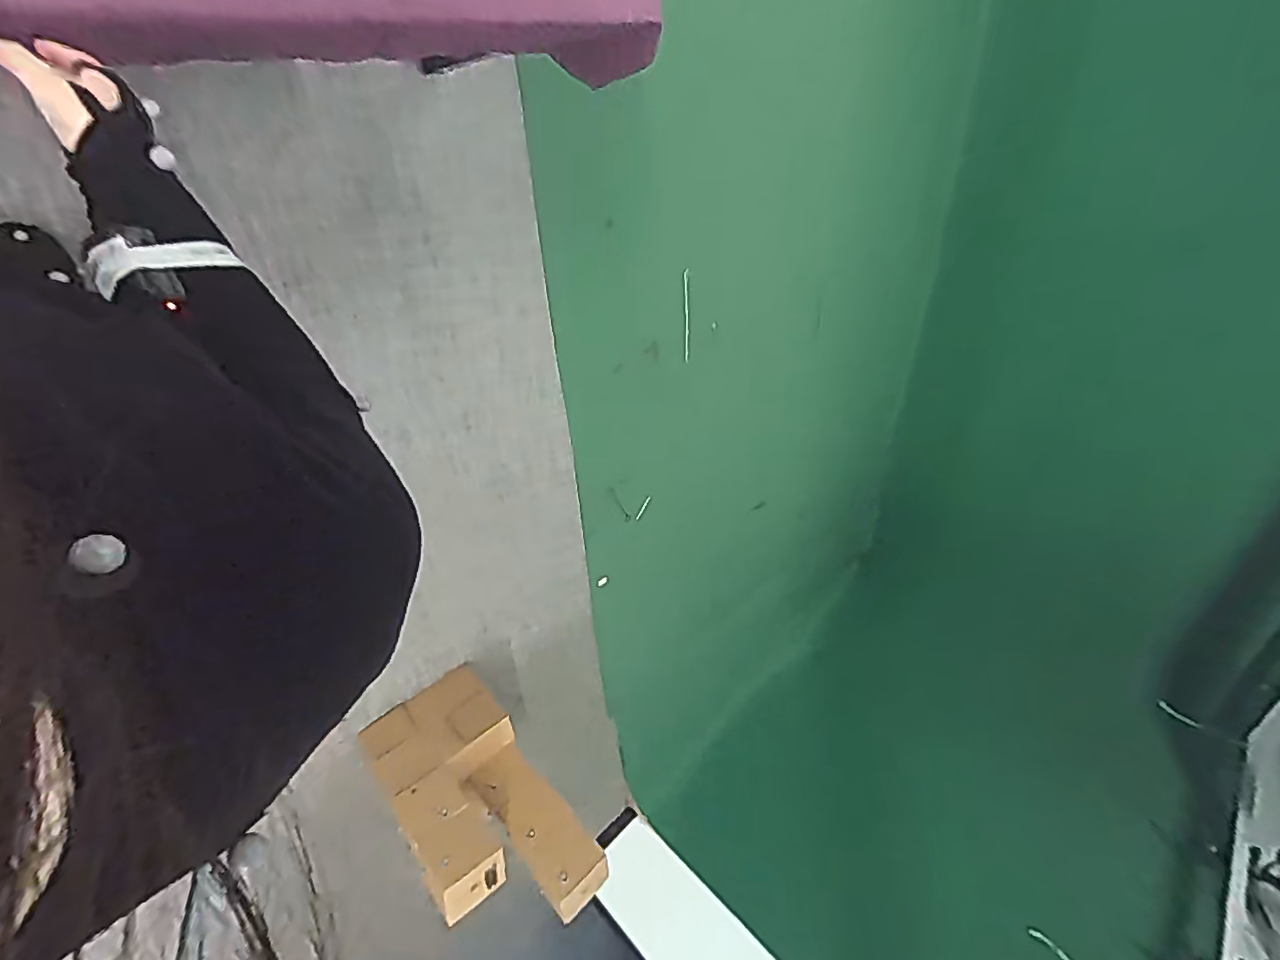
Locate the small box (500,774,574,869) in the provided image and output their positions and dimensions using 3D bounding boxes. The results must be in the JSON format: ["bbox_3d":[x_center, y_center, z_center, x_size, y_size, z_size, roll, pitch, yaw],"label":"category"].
[{"bbox_3d":[-0.324,1.098,1.741,0.179,0.176,0.168,-30,133,-33],"label":"small box"}]

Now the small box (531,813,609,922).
[{"bbox_3d":[-0.216,1.167,1.638,0.179,0.176,0.168,-29,133,-35],"label":"small box"}]

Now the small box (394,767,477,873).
[{"bbox_3d":[-0.615,1.013,1.625,0.168,0.176,0.179,-25,129,-36],"label":"small box"}]

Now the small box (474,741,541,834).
[{"bbox_3d":[-0.442,1.038,1.835,0.179,0.176,0.168,-32,134,-34],"label":"small box"}]
